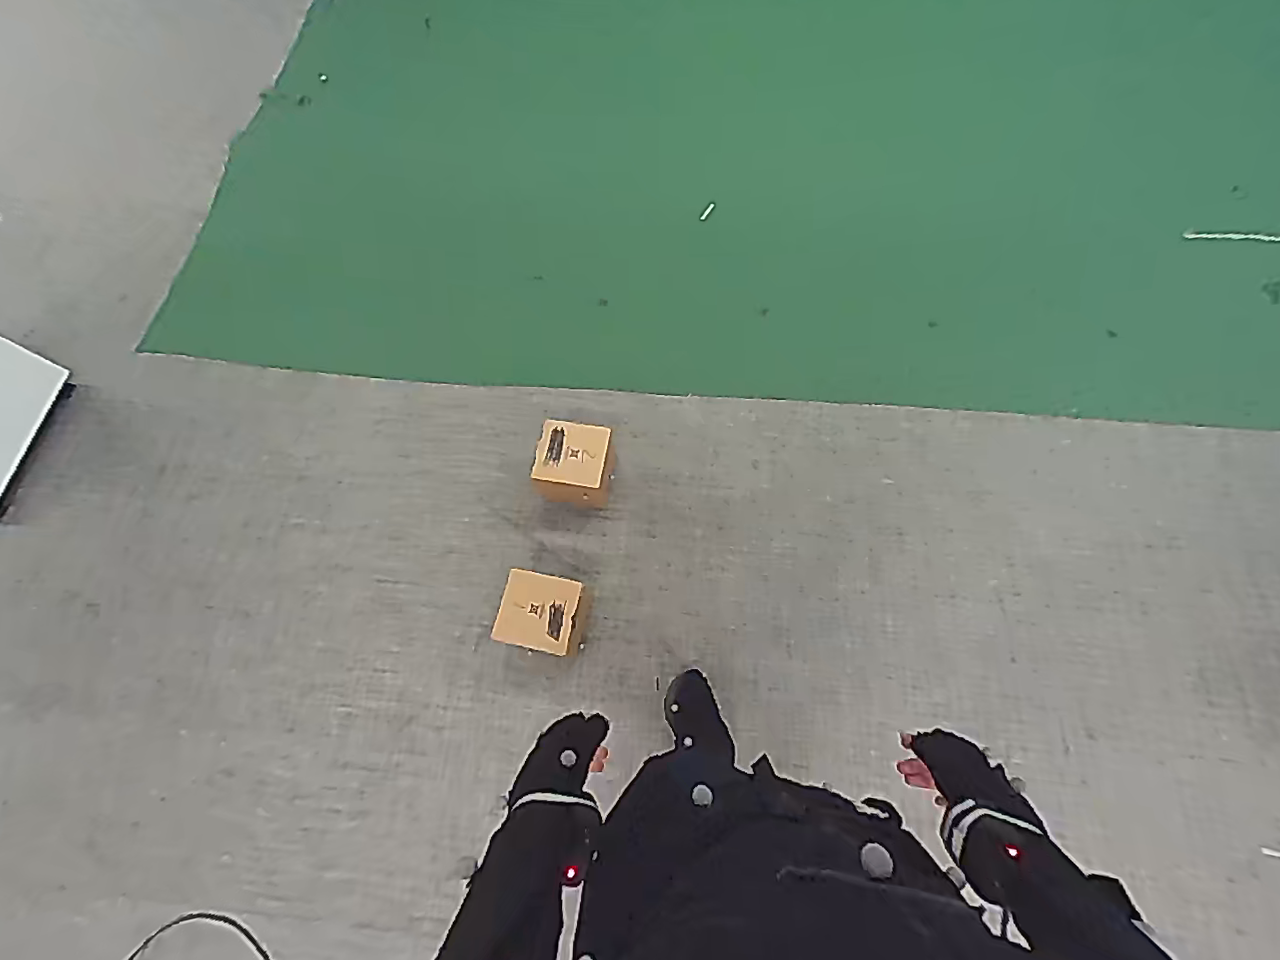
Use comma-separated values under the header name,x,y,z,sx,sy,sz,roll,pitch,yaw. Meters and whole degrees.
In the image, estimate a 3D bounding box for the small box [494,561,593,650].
name,x,y,z,sx,sy,sz,roll,pitch,yaw
small box,-0.219,0.304,1.290,0.179,0.176,0.168,10,71,8
